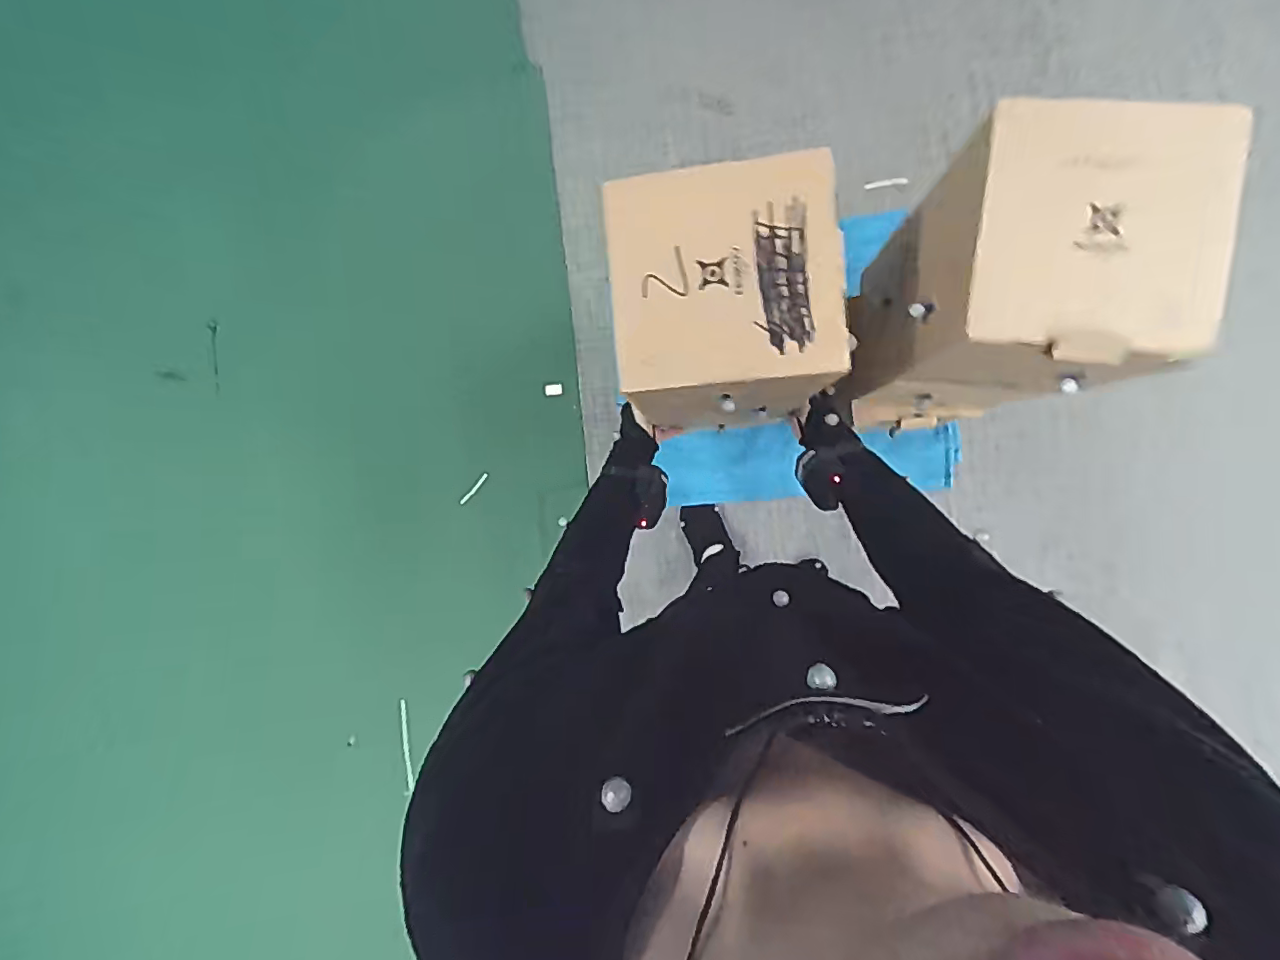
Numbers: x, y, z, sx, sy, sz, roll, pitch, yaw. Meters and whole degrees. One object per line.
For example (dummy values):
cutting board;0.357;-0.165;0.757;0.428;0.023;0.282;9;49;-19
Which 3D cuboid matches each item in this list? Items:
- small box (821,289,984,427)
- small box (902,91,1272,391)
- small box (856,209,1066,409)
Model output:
small box;0.363;-0.168;0.774;0.168;0.176;0.179;-4;92;6
small box;0.337;-0.176;0.449;0.168;0.176;0.179;7;91;6
small box;0.355;-0.178;0.611;0.168;0.176;0.179;5;91;7
